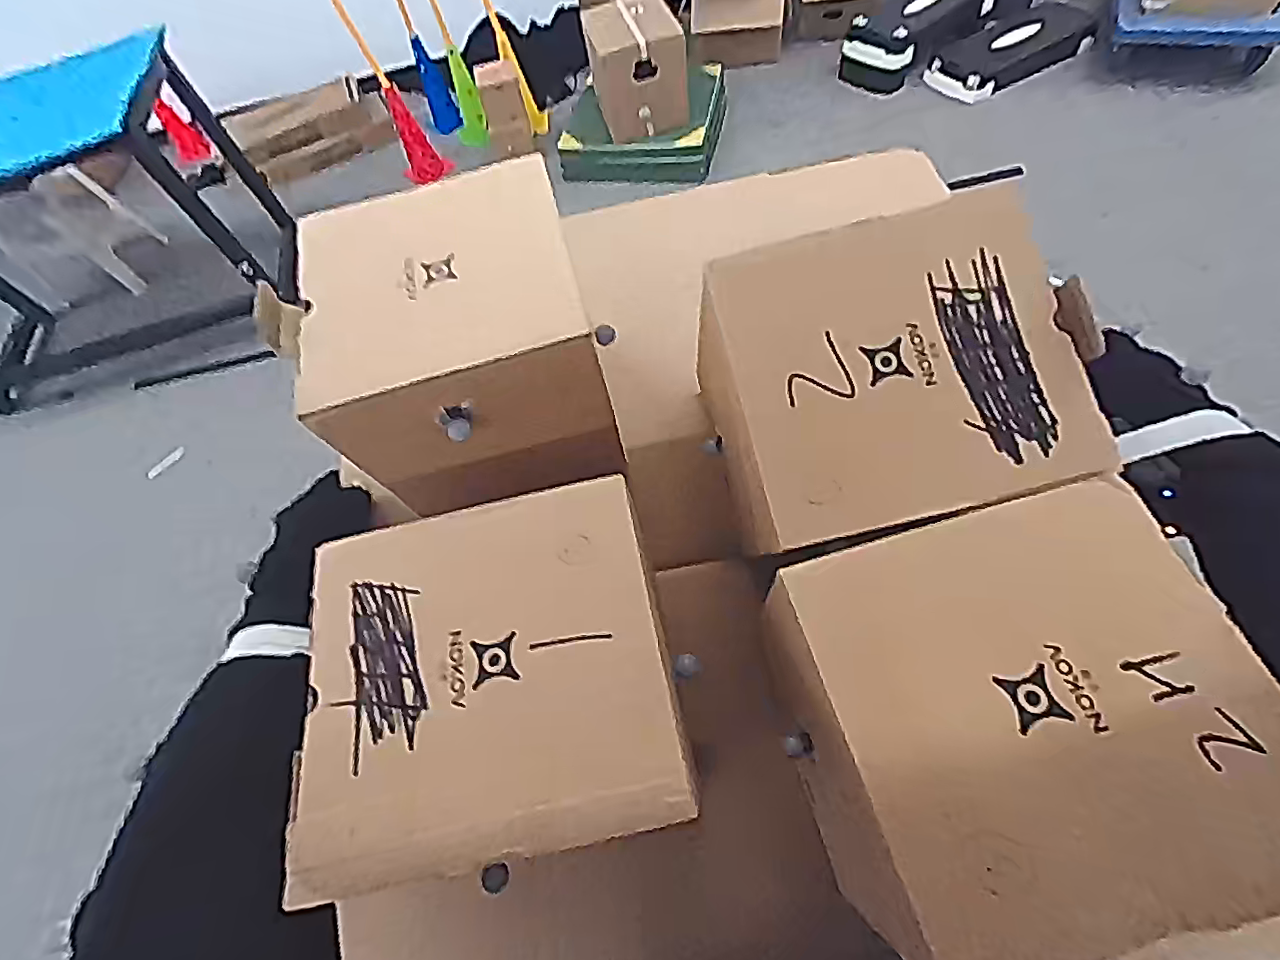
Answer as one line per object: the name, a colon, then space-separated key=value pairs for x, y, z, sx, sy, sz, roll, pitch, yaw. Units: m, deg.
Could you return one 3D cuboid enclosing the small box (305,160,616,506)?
small box: x=-0.122 y=-0.100 z=0.421 sx=0.179 sy=0.176 sz=0.168 roll=-16 pitch=64 yaw=0
